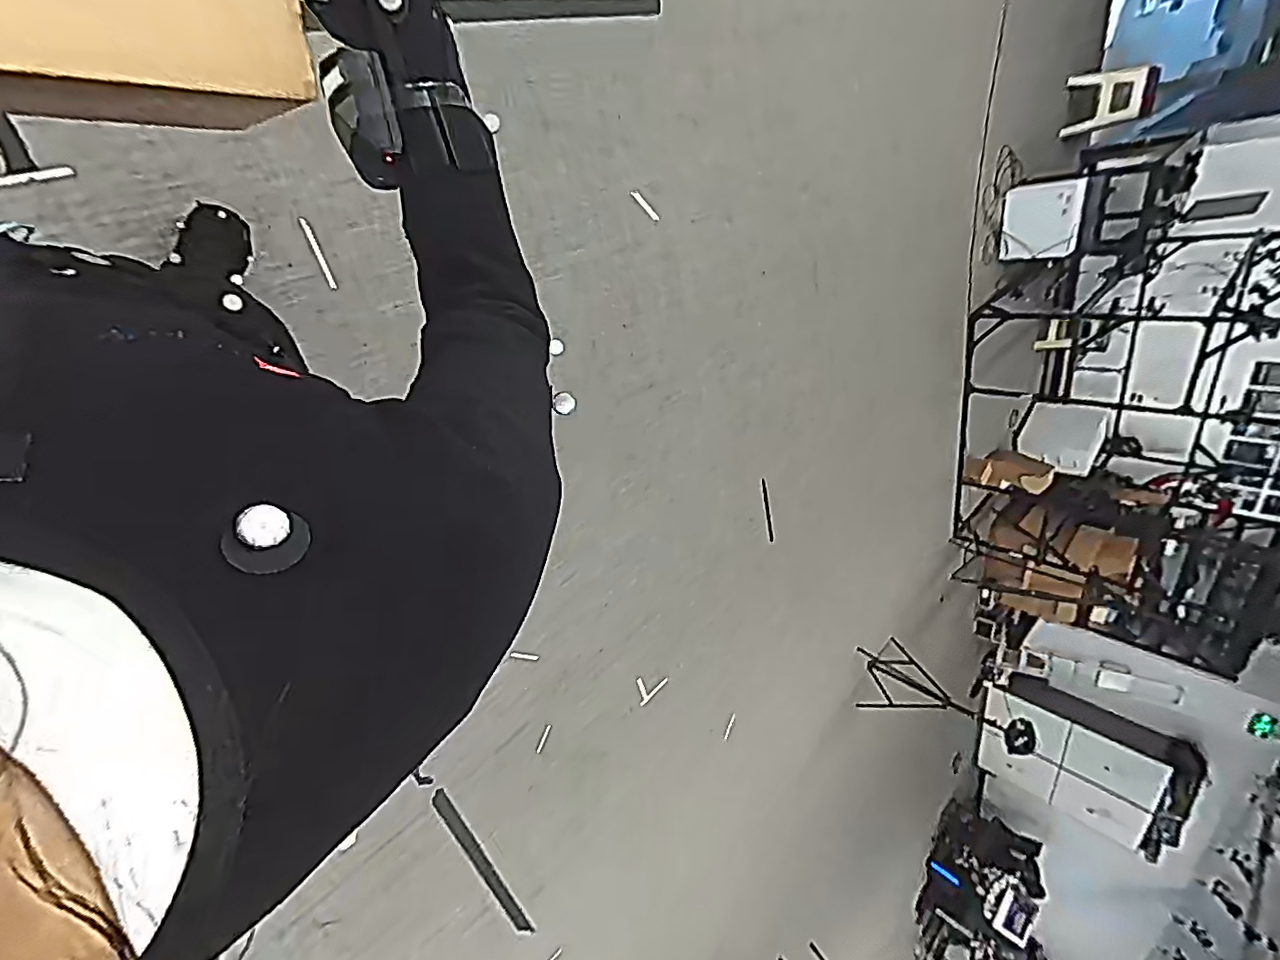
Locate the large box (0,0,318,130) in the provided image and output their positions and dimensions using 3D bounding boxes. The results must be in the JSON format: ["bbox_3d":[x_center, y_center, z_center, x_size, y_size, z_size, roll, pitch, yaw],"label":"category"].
[{"bbox_3d":[-0.463,-0.382,0.278,0.408,0.320,0.320,-22,127,-36],"label":"large box"}]
